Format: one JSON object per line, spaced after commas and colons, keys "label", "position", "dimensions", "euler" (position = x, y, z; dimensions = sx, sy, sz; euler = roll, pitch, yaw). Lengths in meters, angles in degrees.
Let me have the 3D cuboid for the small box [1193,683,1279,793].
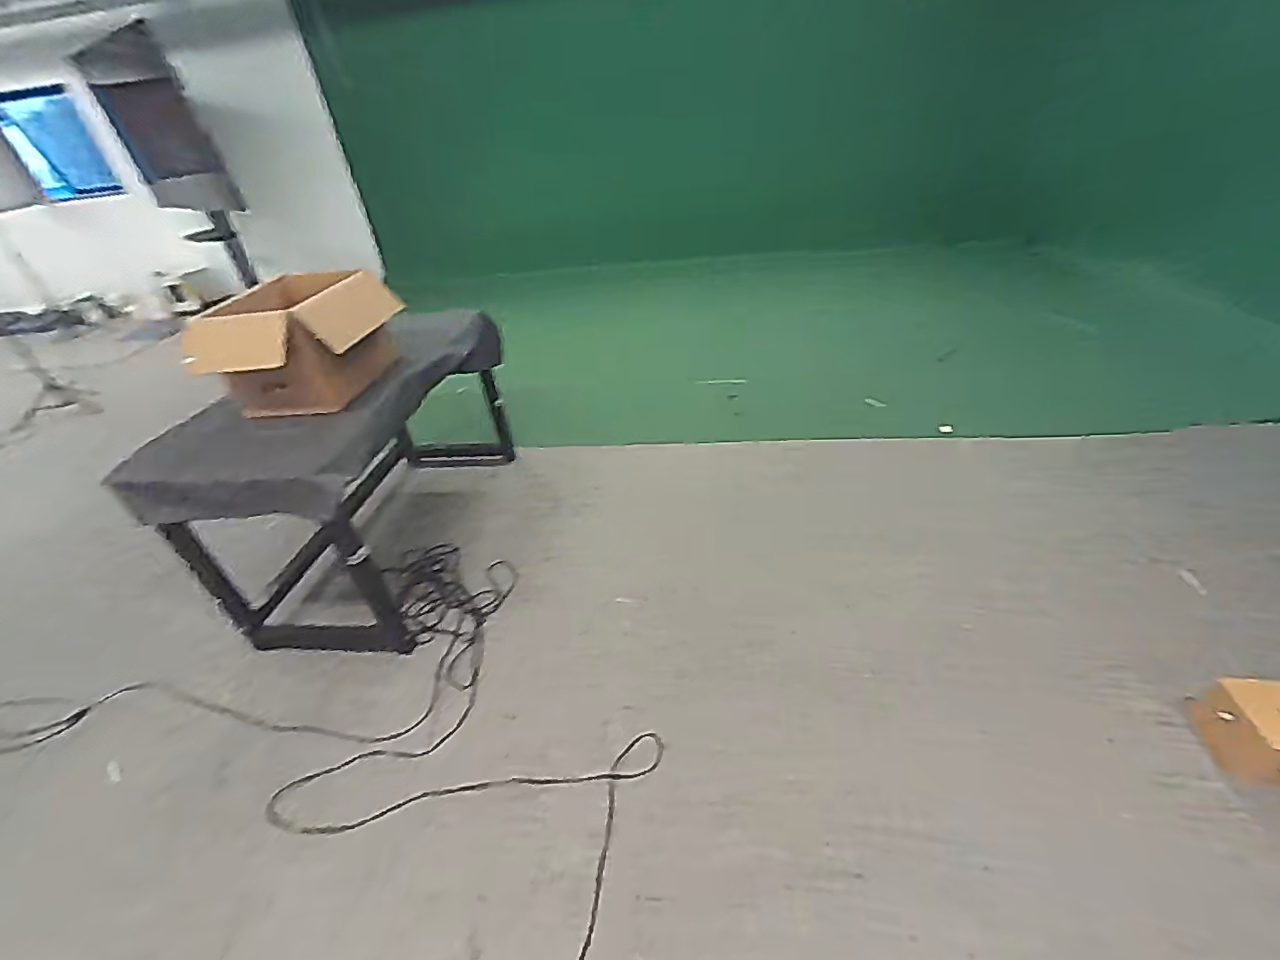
{"label": "small box", "position": [1.430, 0.588, 1.220], "dimensions": [0.168, 0.176, 0.179], "euler": [1, 36, 11]}
